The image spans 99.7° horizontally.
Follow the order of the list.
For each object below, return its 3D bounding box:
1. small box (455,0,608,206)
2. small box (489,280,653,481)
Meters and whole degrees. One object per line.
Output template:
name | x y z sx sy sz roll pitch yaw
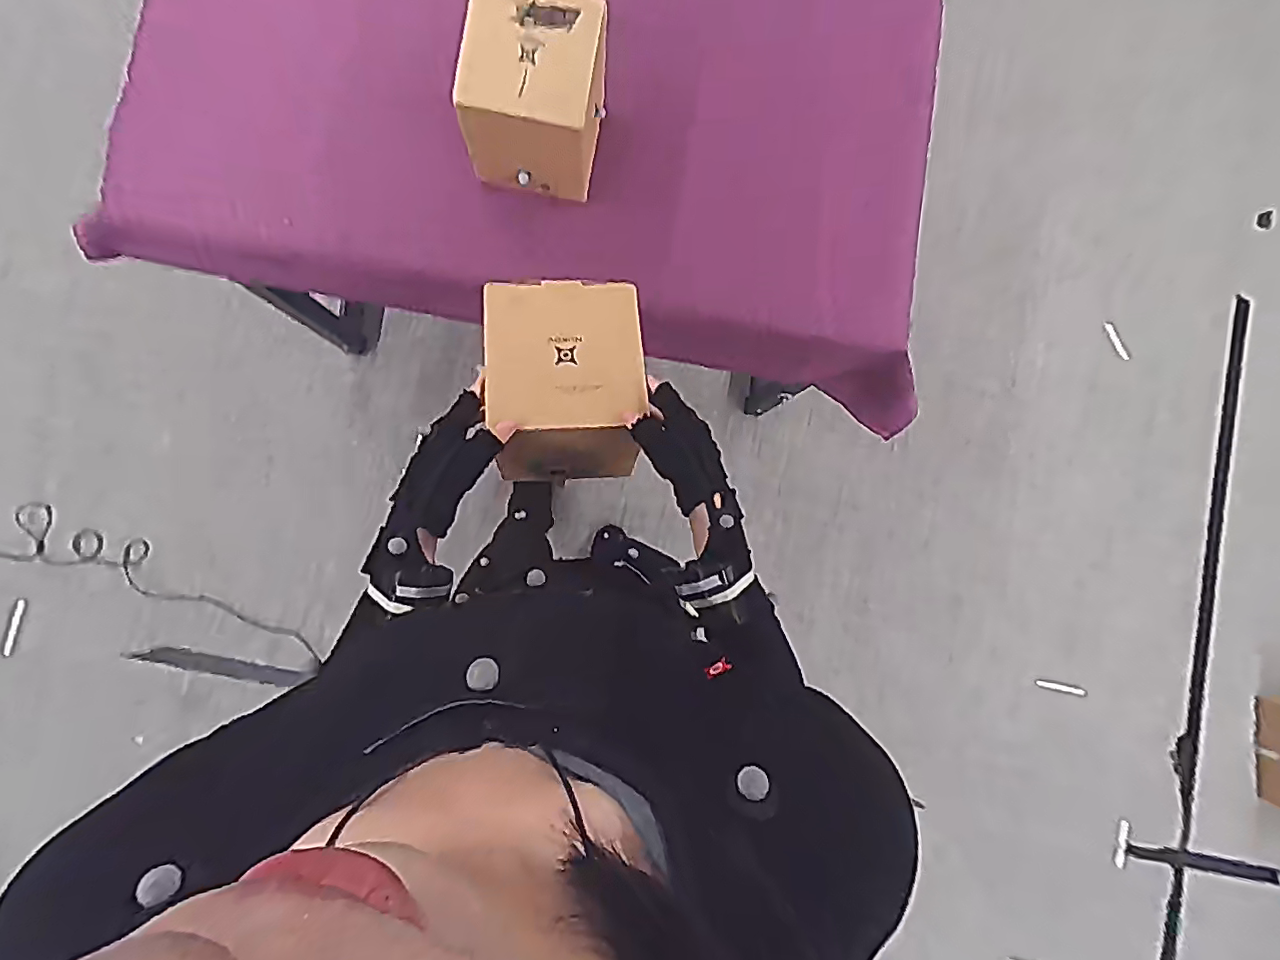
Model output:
small box | -0.142 -0.523 0.752 0.168 0.176 0.179 9 86 -4
small box | -0.084 -0.109 0.637 0.168 0.176 0.179 -3 72 -9
